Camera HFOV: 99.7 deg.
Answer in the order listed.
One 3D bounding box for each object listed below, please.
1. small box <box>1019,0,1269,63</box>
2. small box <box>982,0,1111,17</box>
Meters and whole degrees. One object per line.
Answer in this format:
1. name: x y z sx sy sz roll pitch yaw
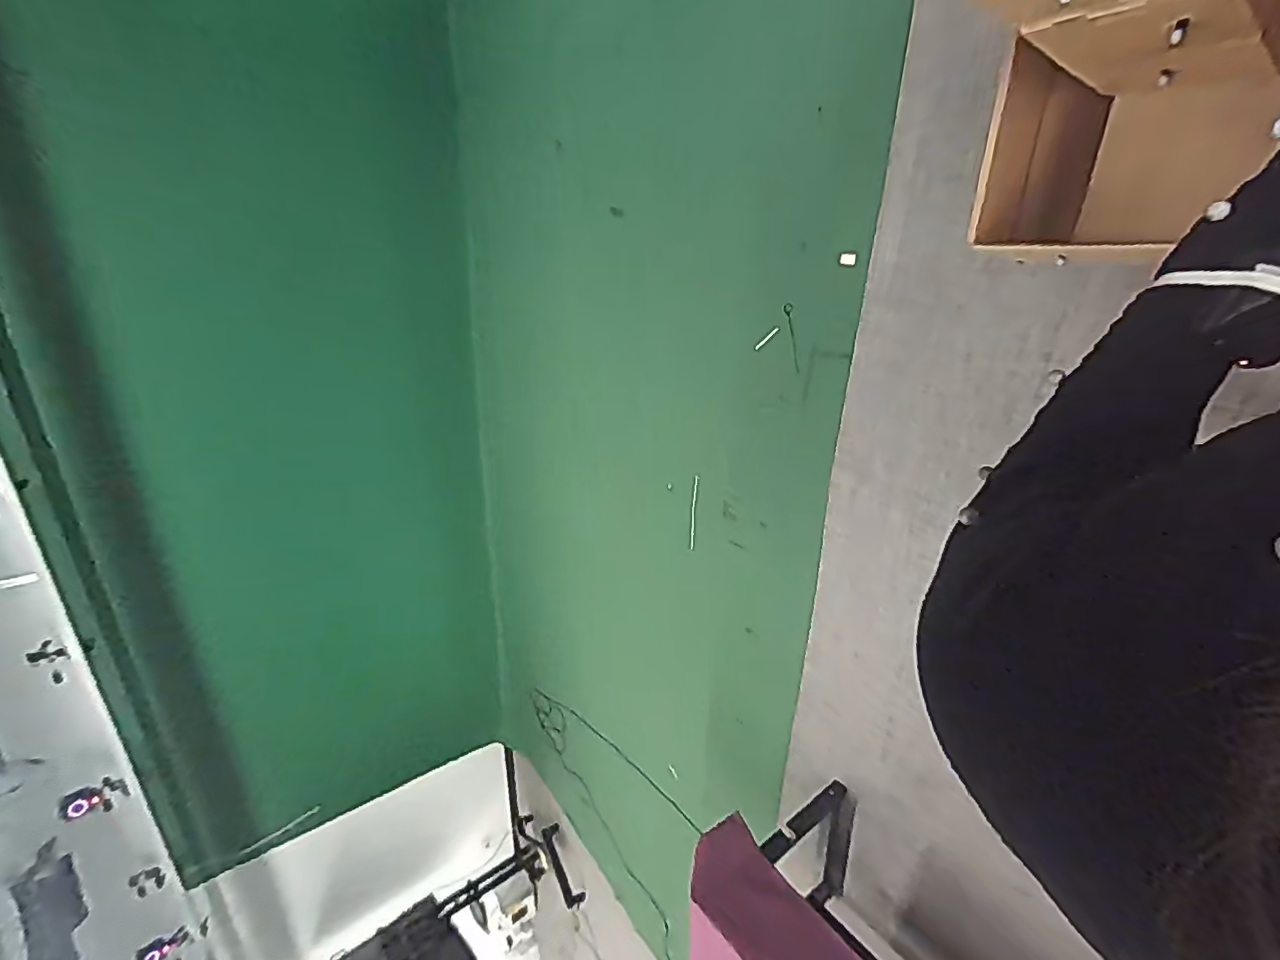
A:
1. small box: 0.515 -0.536 0.525 0.168 0.176 0.179 28 122 45
2. small box: 0.382 -0.509 0.433 0.168 0.176 0.179 29 124 43
